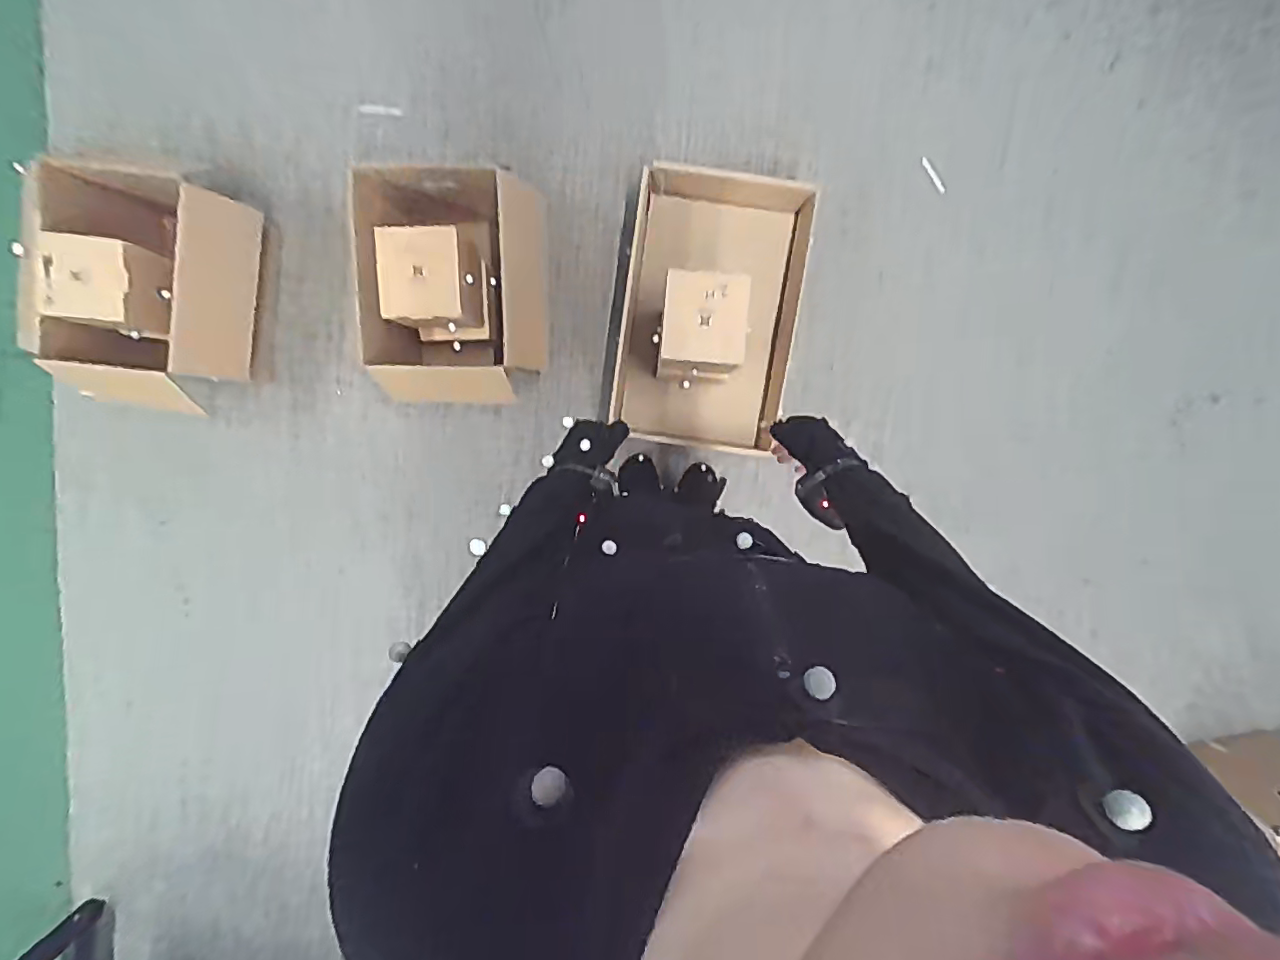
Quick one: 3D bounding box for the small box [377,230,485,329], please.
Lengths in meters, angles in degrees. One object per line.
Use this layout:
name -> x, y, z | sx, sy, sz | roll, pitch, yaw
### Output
small box -> -0.439, -0.421, 1.161 | 0.168, 0.176, 0.179 | -1, 98, 1

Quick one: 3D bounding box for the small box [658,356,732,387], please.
small box -> 0.135, -0.325, 1.293 | 0.168, 0.176, 0.179 | 7, 95, 0

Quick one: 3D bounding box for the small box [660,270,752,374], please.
small box -> 0.130, -0.320, 1.128 | 0.168, 0.176, 0.179 | 4, 94, 0
